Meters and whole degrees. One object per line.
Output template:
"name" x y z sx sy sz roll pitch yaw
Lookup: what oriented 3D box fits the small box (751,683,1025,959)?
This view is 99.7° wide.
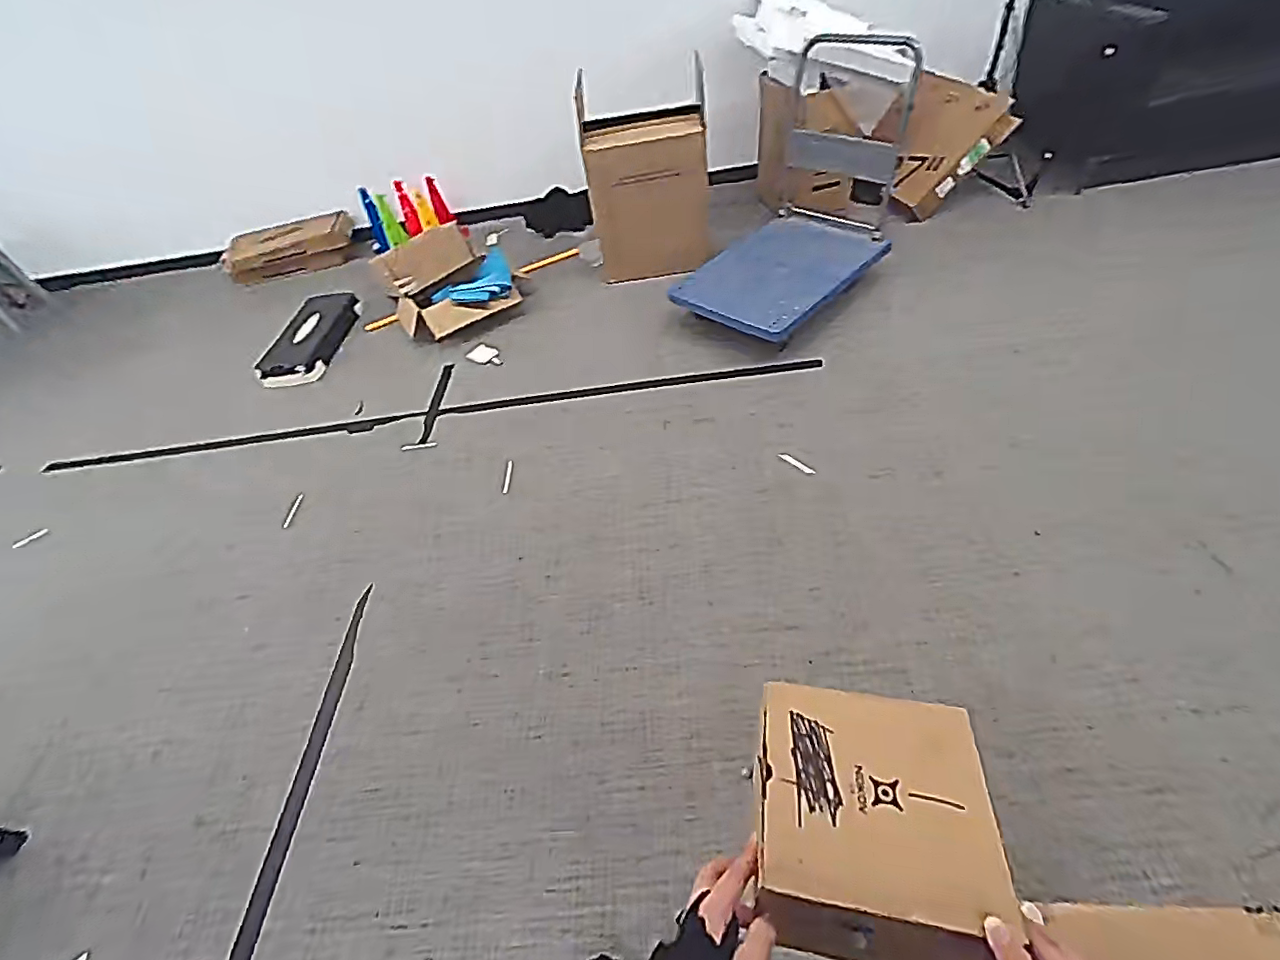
"small box" 0.193 0.309 0.482 0.179 0.176 0.168 4 41 11
